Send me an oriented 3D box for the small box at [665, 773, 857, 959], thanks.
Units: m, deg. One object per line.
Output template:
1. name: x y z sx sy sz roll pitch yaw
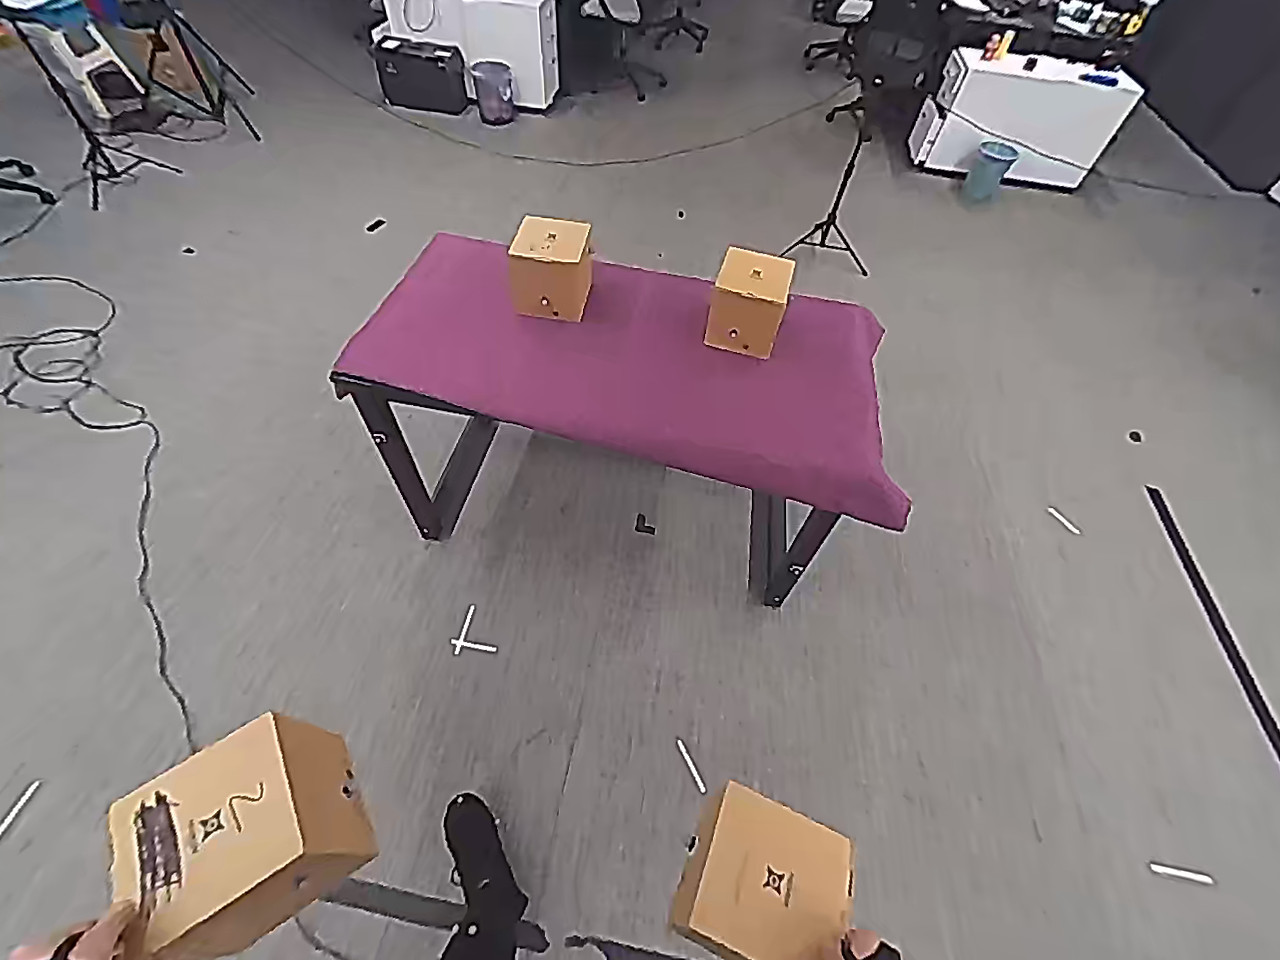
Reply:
1. small box: 0.152 0.519 0.704 0.179 0.176 0.168 24 50 9

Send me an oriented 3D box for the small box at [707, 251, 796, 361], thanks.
1. small box: 0.269 -0.425 1.324 0.168 0.176 0.179 16 55 7

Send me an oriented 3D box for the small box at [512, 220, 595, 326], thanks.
1. small box: -0.211 -0.516 1.350 0.168 0.176 0.179 8 54 1
